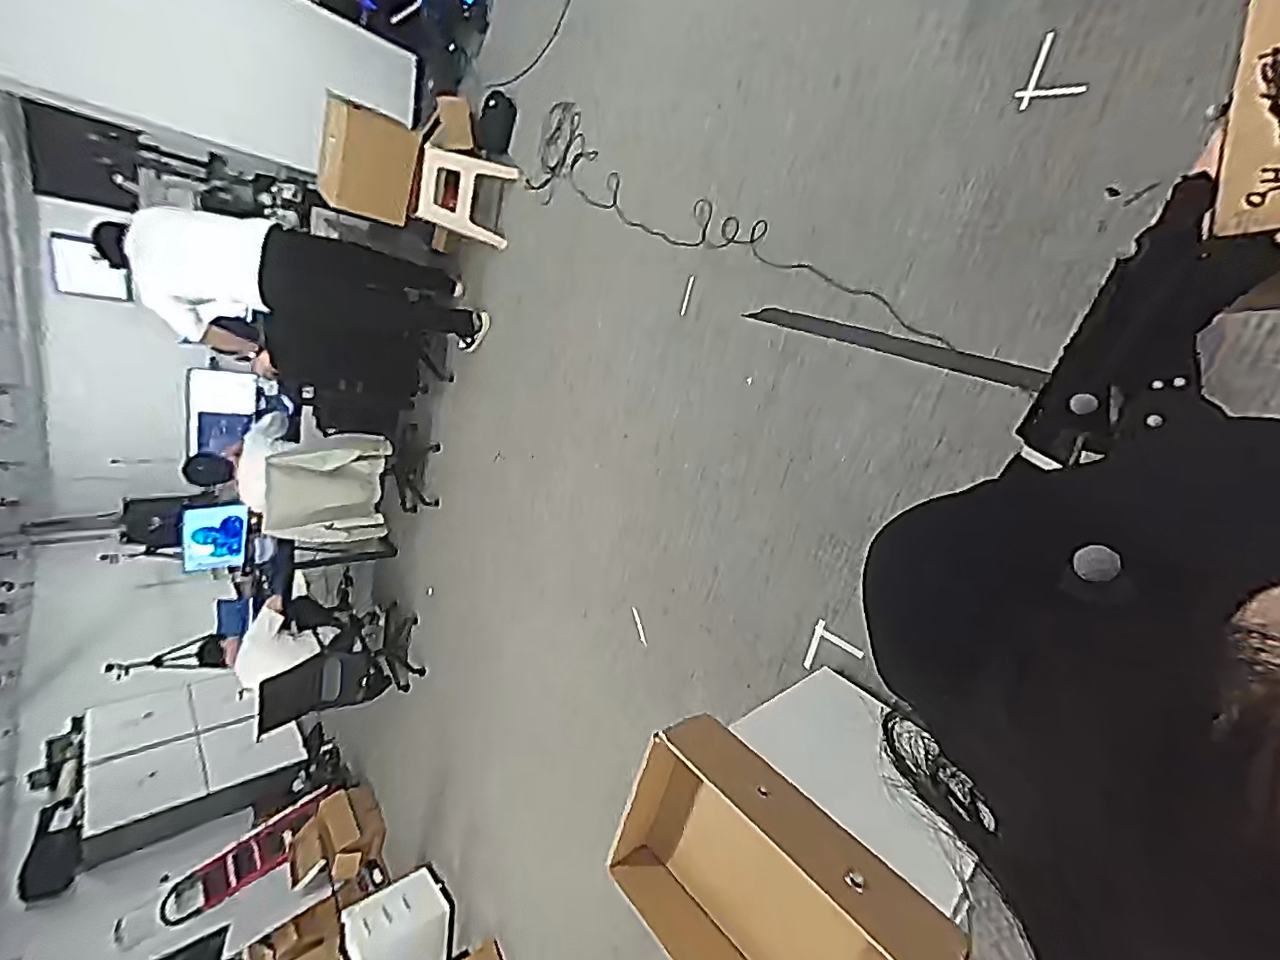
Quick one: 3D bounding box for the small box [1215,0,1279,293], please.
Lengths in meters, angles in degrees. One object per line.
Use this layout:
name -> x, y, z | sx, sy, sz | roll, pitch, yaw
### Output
small box -> 0.501, -0.230, 0.338 | 0.179, 0.176, 0.168 | 11, 93, 47
